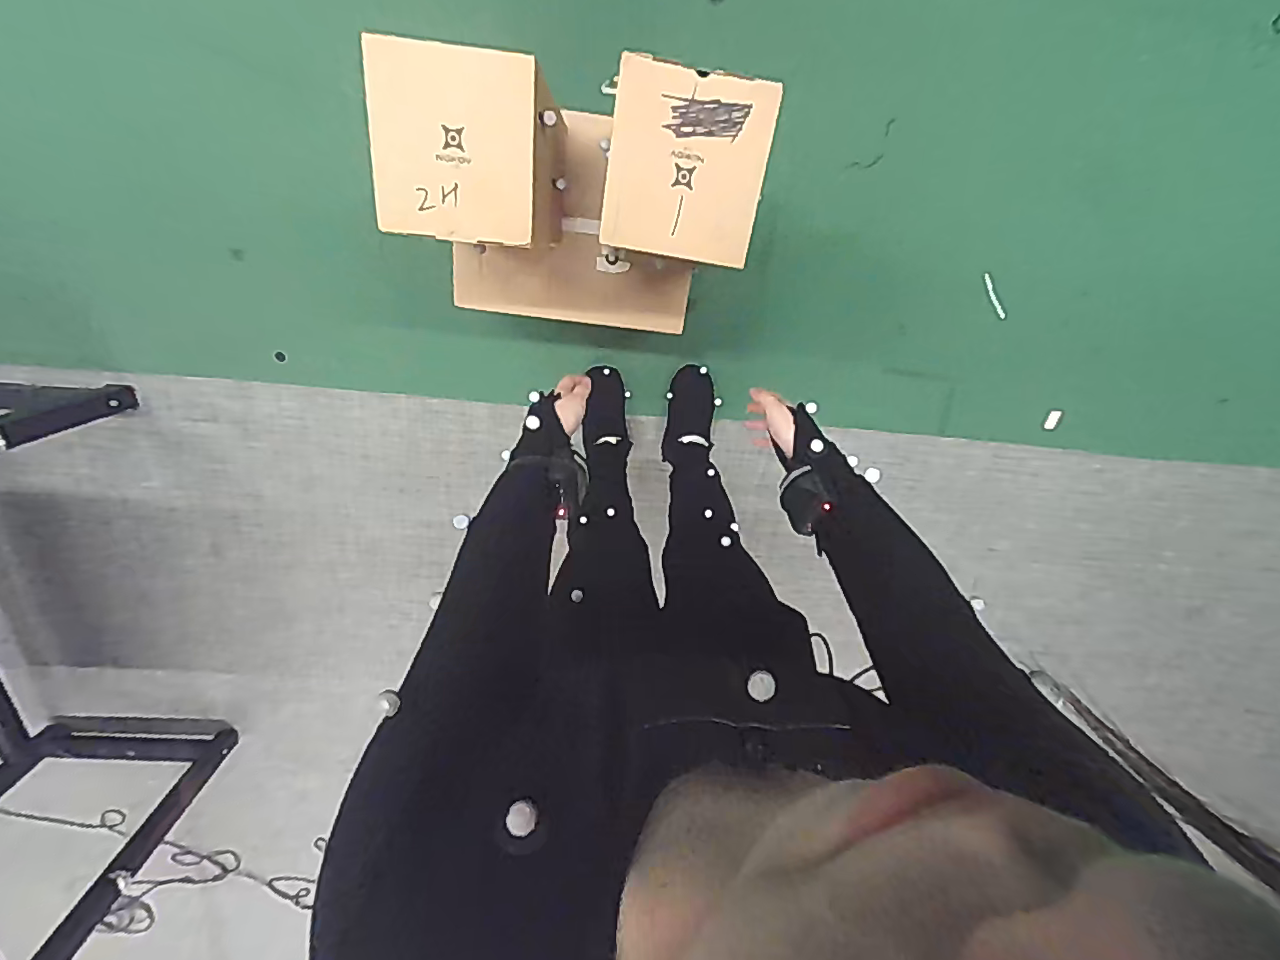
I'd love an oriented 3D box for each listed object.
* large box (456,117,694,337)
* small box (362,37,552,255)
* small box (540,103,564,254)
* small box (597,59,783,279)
[{"bbox_3d":[-0.108,-0.465,1.020,0.408,0.320,0.320,5,113,-4],"label":"large box"},{"bbox_3d":[-0.194,-0.361,0.620,0.168,0.176,0.179,5,113,-4],"label":"small box"},{"bbox_3d":[-0.202,-0.427,0.771,0.168,0.176,0.179,6,112,-4],"label":"small box"},{"bbox_3d":[0.046,-0.344,0.630,0.168,0.176,0.179,9,113,-4],"label":"small box"}]
